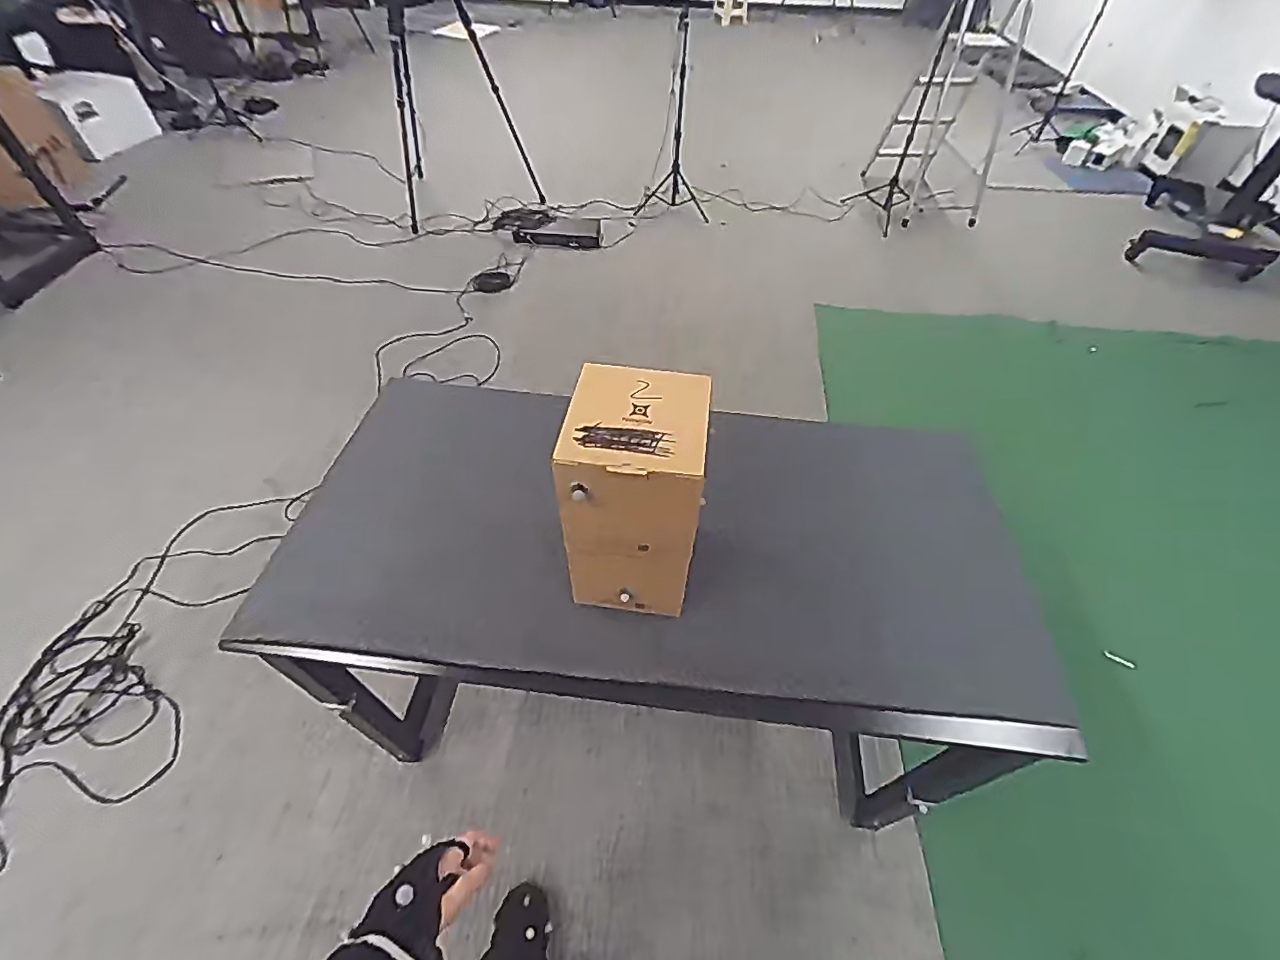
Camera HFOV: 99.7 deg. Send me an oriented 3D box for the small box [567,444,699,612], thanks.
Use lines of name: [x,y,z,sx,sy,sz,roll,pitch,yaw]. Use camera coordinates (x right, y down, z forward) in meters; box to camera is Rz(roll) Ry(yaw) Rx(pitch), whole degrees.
small box: [-0.007,0.073,0.814,0.168,0.176,0.179,7,49,5]
